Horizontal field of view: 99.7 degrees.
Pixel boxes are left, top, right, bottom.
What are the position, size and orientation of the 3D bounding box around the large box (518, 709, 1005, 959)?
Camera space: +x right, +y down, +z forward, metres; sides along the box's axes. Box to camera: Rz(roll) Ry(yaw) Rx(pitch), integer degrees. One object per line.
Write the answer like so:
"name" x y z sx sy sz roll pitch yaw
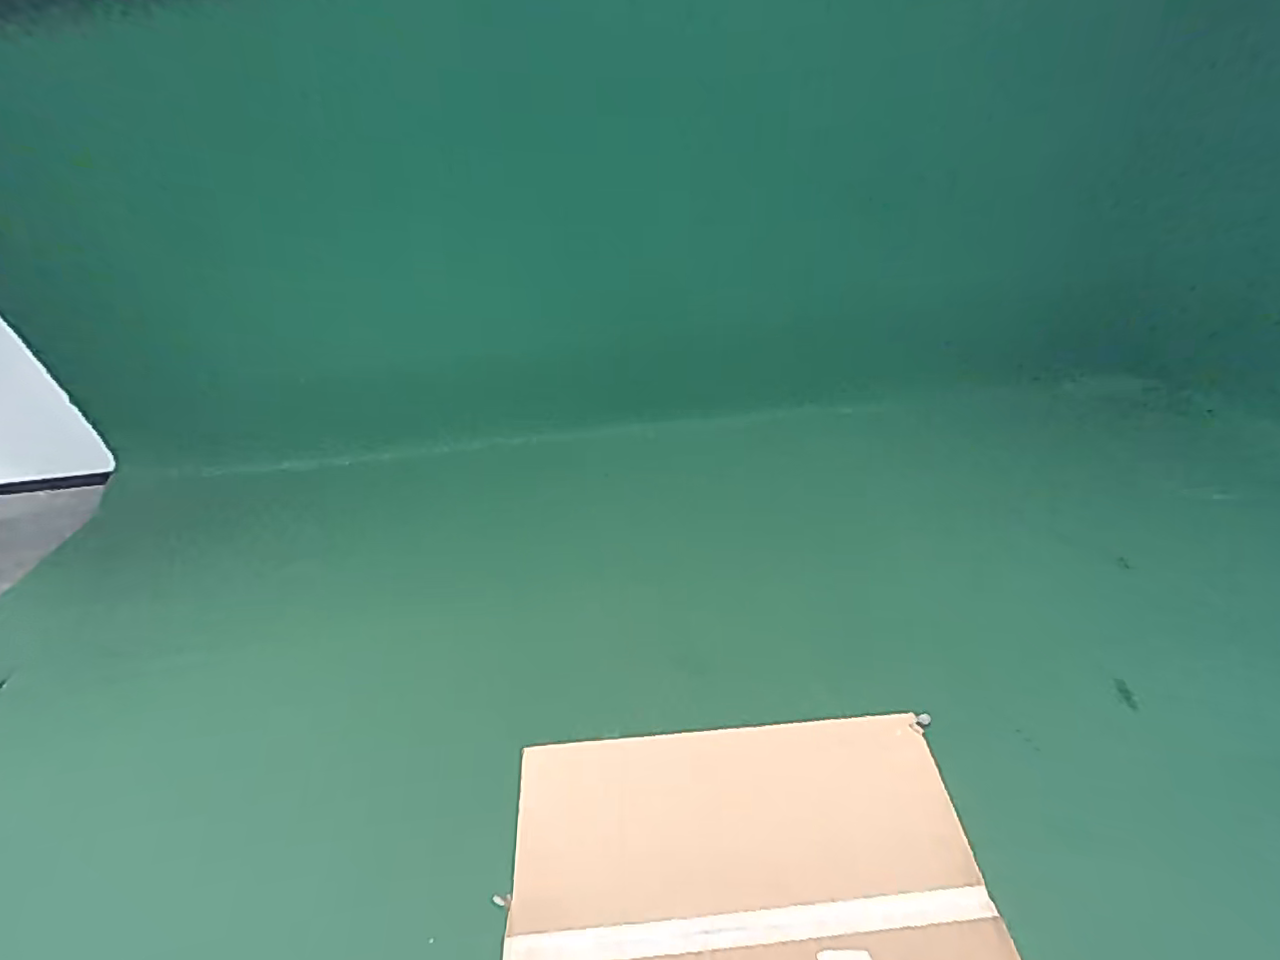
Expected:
"large box" 0.096 0.473 0.567 0.408 0.320 0.320 -4 47 -3
